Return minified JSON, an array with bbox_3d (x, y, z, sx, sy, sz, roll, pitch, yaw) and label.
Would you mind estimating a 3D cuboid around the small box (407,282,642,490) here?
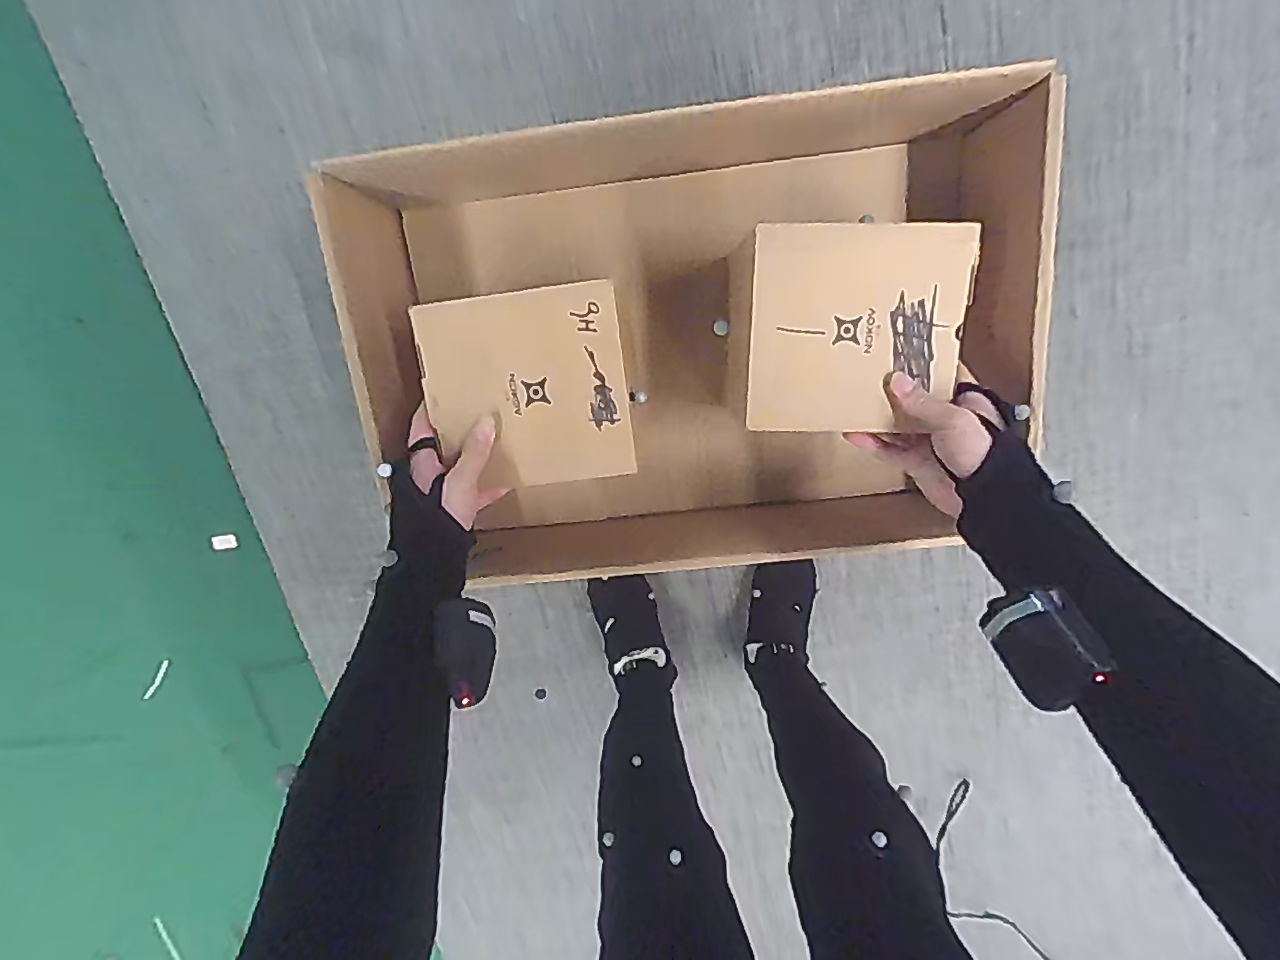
[{"bbox_3d":[-0.098,-0.095,0.545,0.179,0.176,0.168,-6,104,6],"label":"small box"}]
